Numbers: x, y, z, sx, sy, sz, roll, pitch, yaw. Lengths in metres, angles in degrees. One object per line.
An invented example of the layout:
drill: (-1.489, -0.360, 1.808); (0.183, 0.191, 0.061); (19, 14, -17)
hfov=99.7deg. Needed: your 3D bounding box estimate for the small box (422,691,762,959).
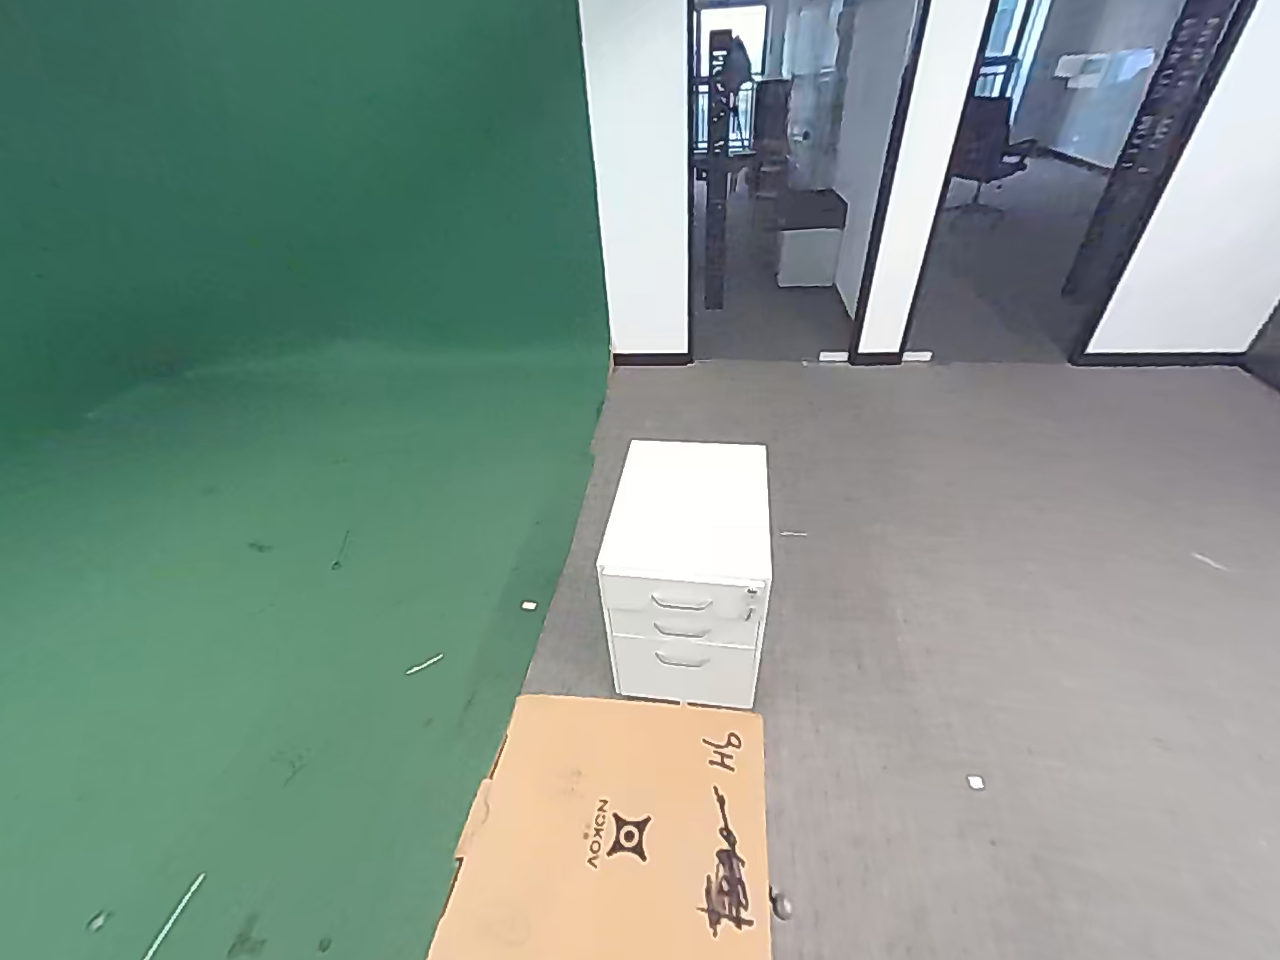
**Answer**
small box: (-0.008, 0.271, 0.369); (0.179, 0.176, 0.168); (1, 37, 11)
